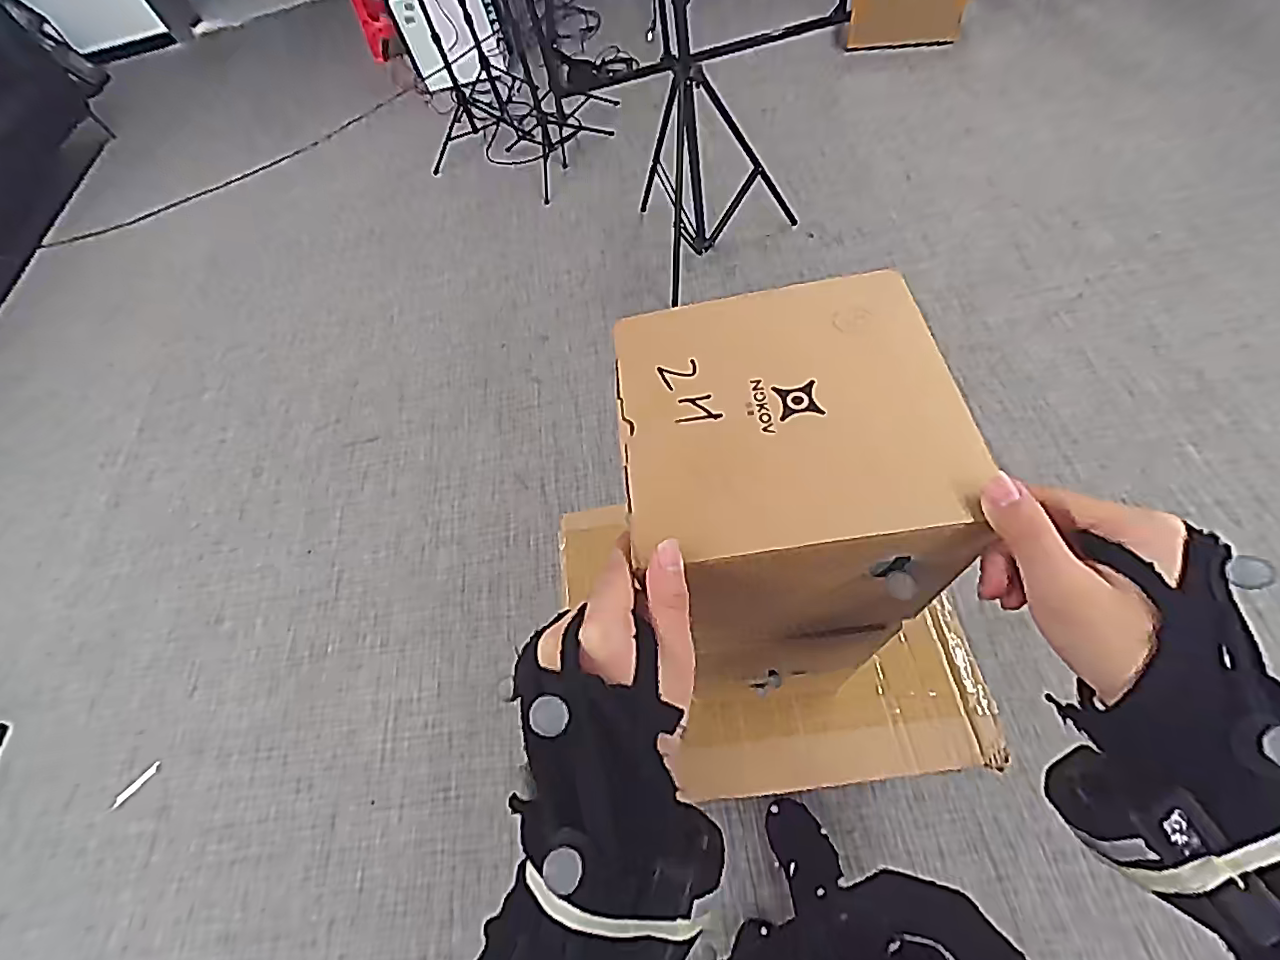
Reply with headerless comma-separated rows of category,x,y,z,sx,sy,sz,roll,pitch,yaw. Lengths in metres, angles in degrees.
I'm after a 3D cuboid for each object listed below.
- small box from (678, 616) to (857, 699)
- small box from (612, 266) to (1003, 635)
small box,0.136,0.157,0.642,0.179,0.176,0.168,-9,60,6
small box,0.086,-0.006,0.358,0.179,0.176,0.168,-9,59,6
